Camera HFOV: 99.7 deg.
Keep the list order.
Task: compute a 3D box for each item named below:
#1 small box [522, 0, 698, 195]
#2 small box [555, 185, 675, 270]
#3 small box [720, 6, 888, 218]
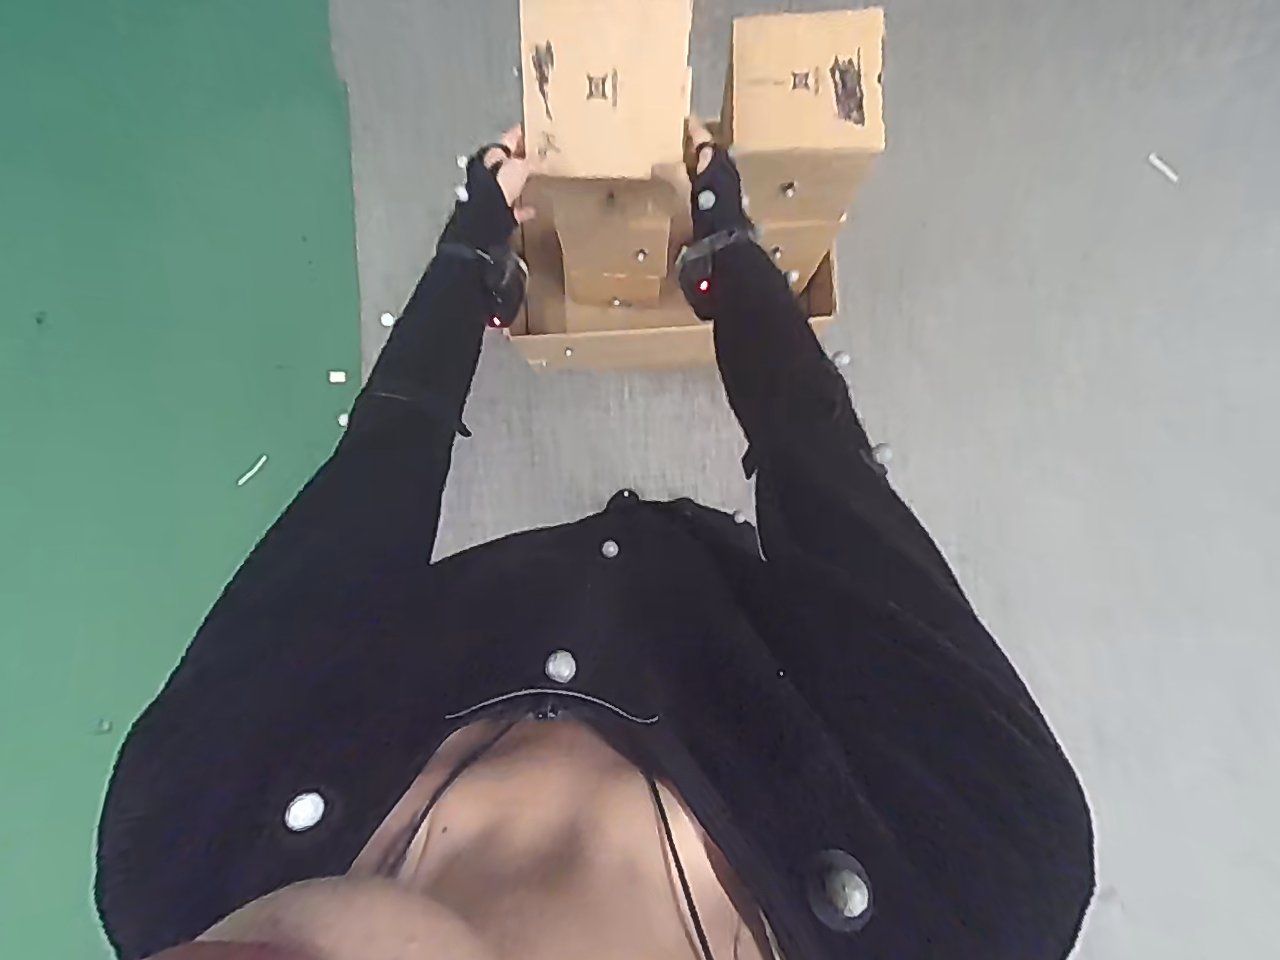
[{"bbox_3d":[-0.035,-0.438,0.630,0.179,0.176,0.168,2,110,-2],"label":"small box"},{"bbox_3d":[-0.034,-0.457,0.879,0.179,0.176,0.168,4,87,1],"label":"small box"},{"bbox_3d":[0.200,-0.461,0.701,0.179,0.176,0.168,1,88,4],"label":"small box"}]
